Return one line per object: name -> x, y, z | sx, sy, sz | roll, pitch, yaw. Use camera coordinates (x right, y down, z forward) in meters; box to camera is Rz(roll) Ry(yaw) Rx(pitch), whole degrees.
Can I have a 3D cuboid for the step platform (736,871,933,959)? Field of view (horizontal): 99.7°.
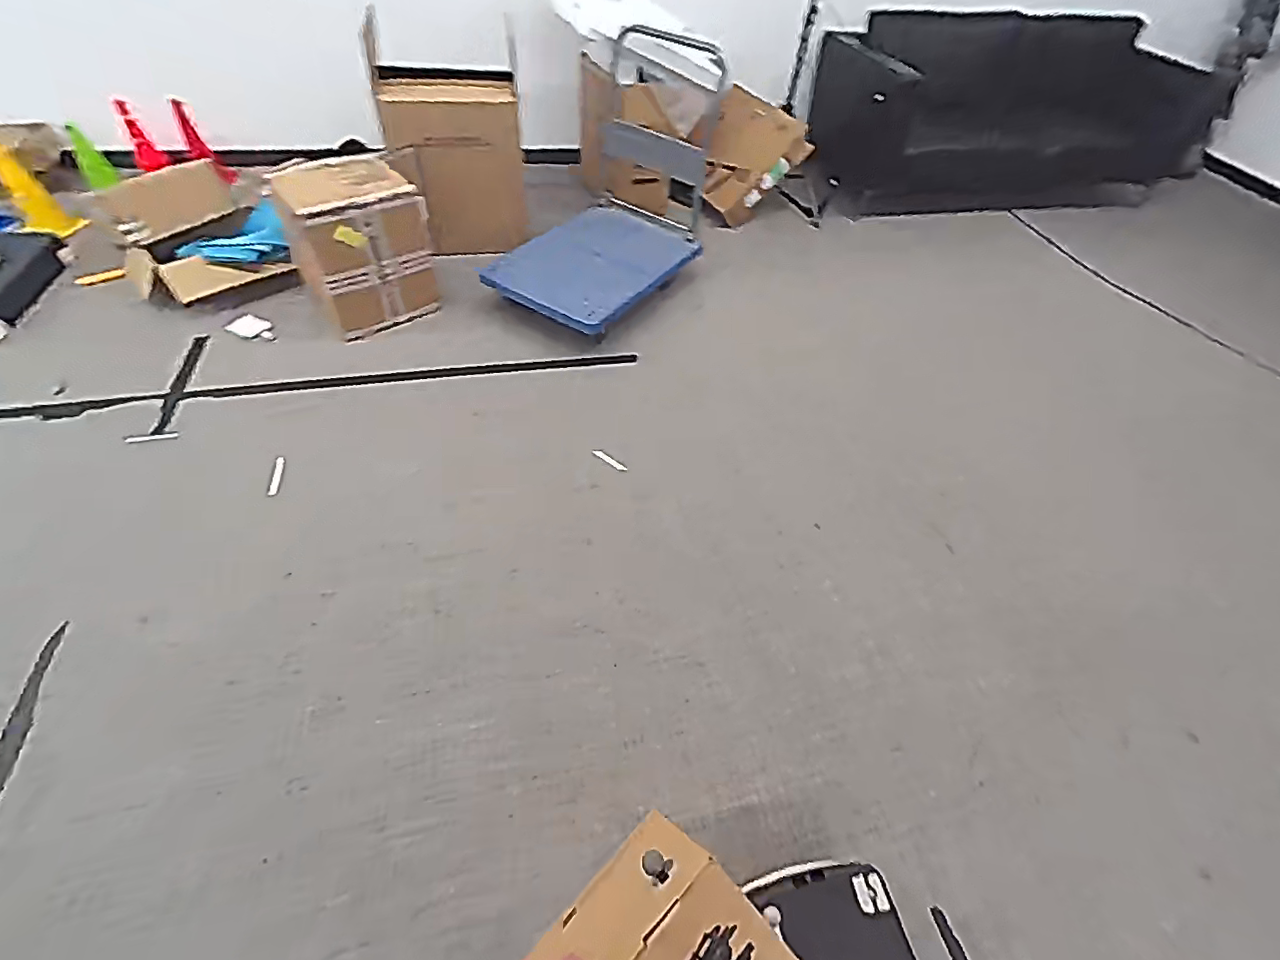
step platform -> 0.389, 1.009, 0.808 | 0.286, 0.204, 0.684 | -7, 50, -12
